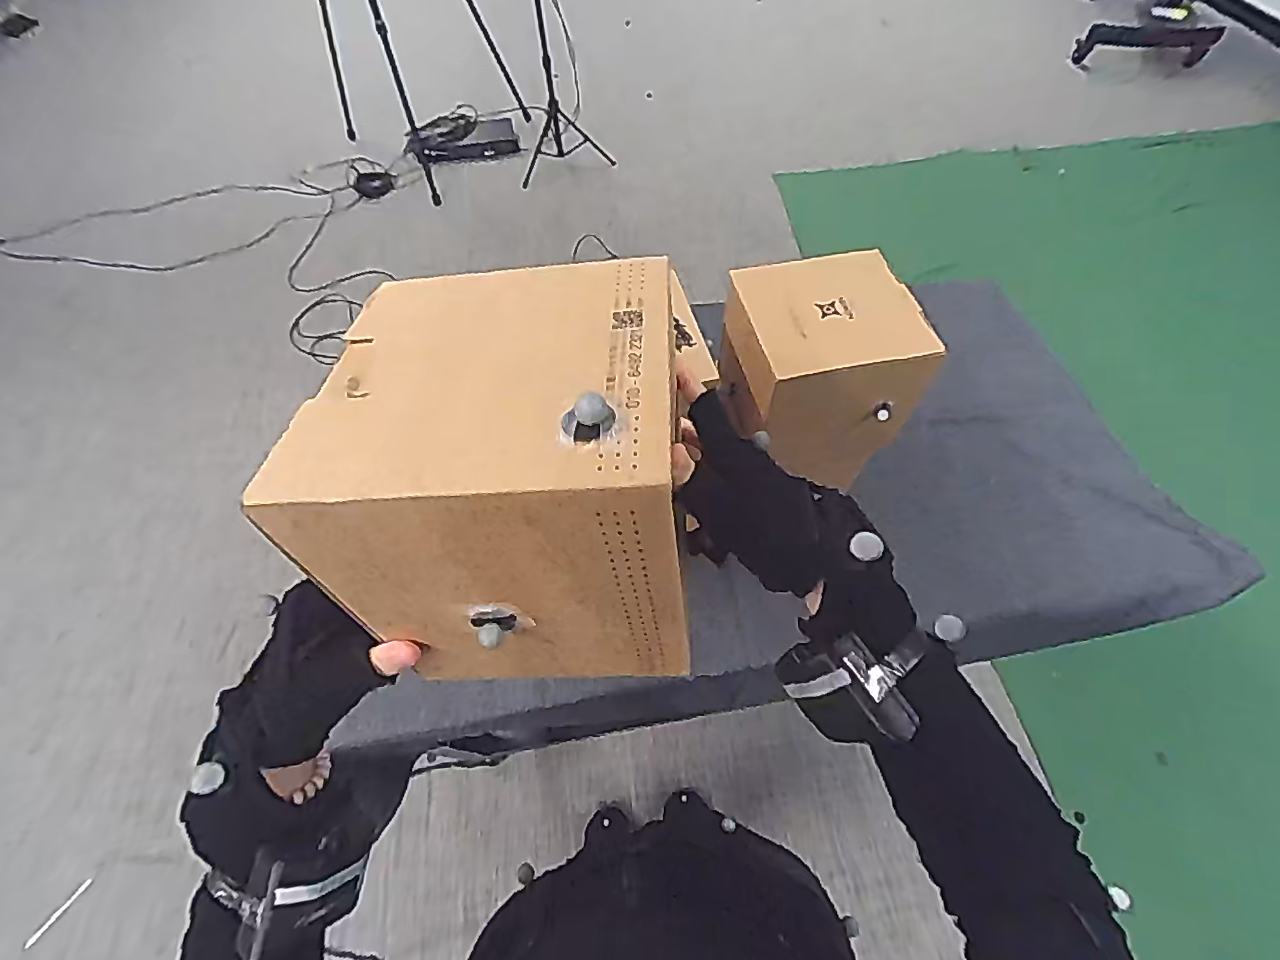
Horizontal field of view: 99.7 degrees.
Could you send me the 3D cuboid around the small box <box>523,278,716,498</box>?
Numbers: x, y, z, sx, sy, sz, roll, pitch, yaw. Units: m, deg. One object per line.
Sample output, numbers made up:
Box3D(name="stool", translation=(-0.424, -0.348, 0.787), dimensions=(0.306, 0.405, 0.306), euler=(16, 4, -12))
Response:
Box3D(name="small box", translation=(-0.022, -0.098, 0.624), dimensions=(0.179, 0.176, 0.168), euler=(-13, 60, -5))
